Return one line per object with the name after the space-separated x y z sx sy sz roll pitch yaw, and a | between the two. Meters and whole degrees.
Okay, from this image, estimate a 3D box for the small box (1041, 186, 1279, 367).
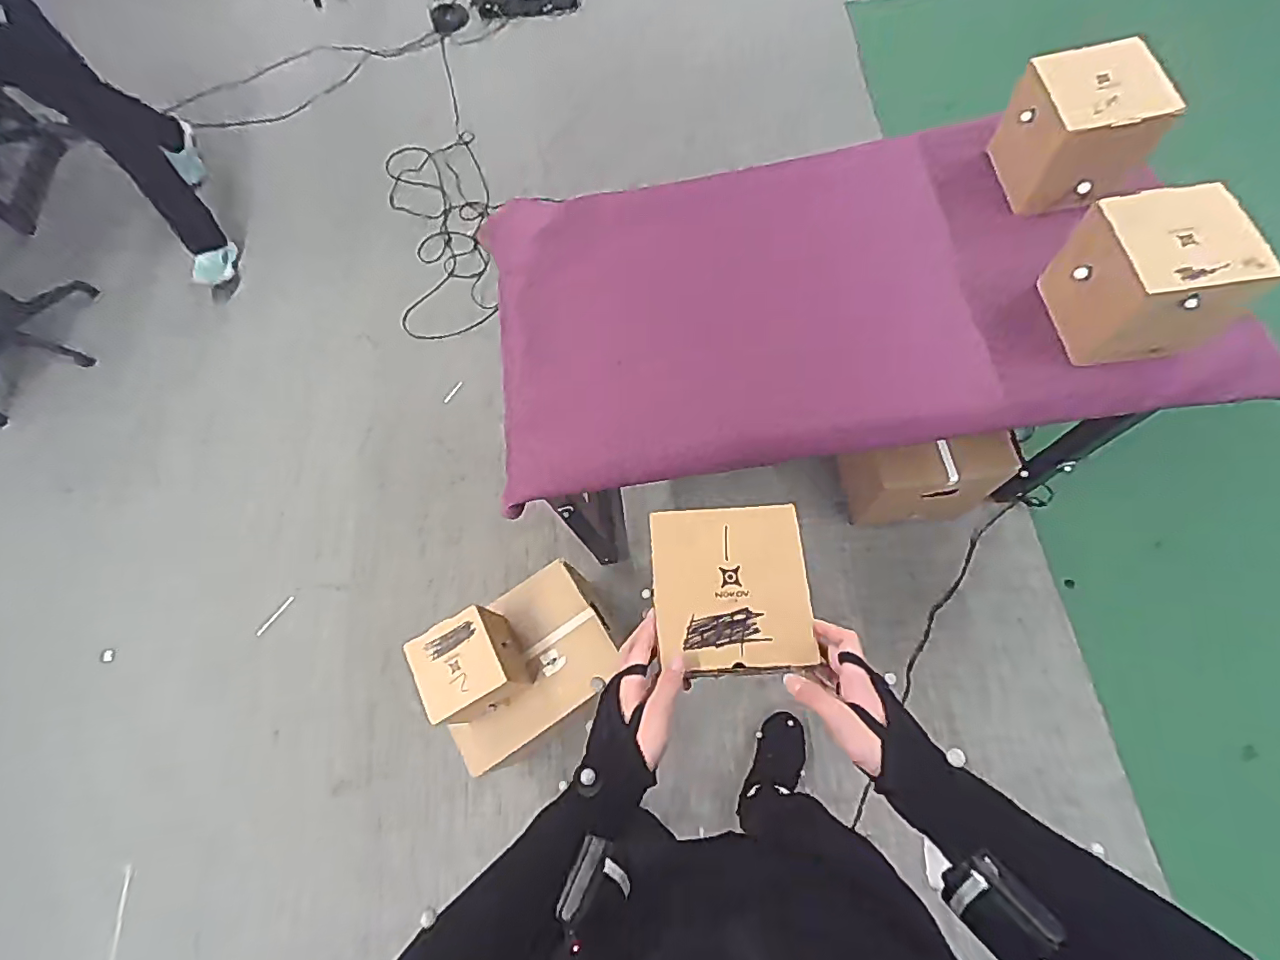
0.748 -0.296 0.806 0.168 0.176 0.179 -7 65 7 | small box

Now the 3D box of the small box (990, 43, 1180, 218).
0.737 -0.588 0.924 0.168 0.176 0.179 -8 69 7 | small box

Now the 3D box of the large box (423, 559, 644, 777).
-0.247 0.469 1.361 0.408 0.320 0.320 -34 69 -7 | large box

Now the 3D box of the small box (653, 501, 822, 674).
0.105 0.138 0.650 0.168 0.176 0.179 -4 67 2 | small box
